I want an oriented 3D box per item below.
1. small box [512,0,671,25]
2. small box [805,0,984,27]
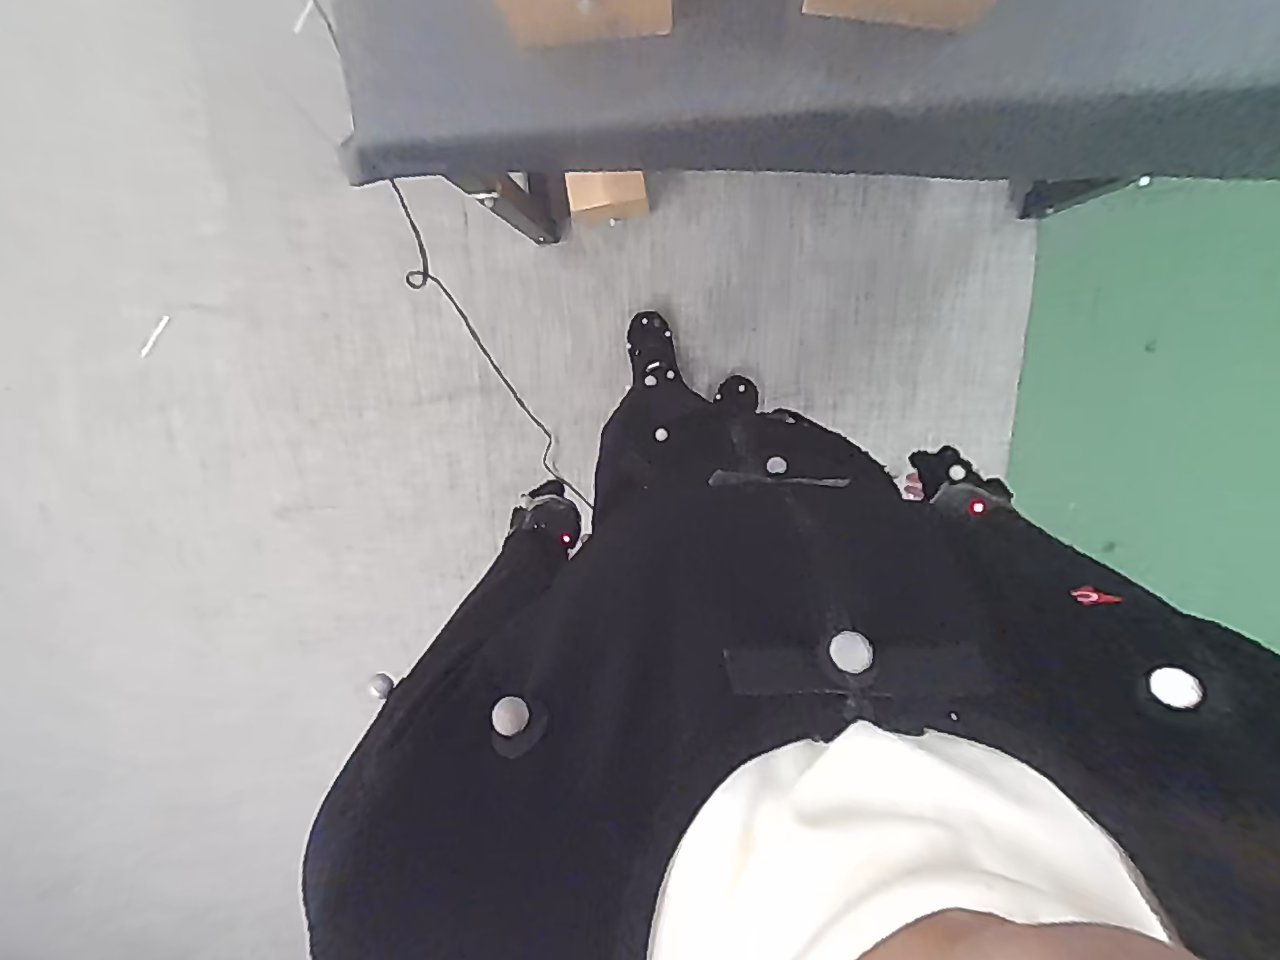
[{"bbox_3d":[-0.055,-0.549,0.483,0.168,0.176,0.179,-2,103,4],"label":"small box"},{"bbox_3d":[0.261,-0.538,0.468,0.179,0.176,0.168,10,103,3],"label":"small box"}]
